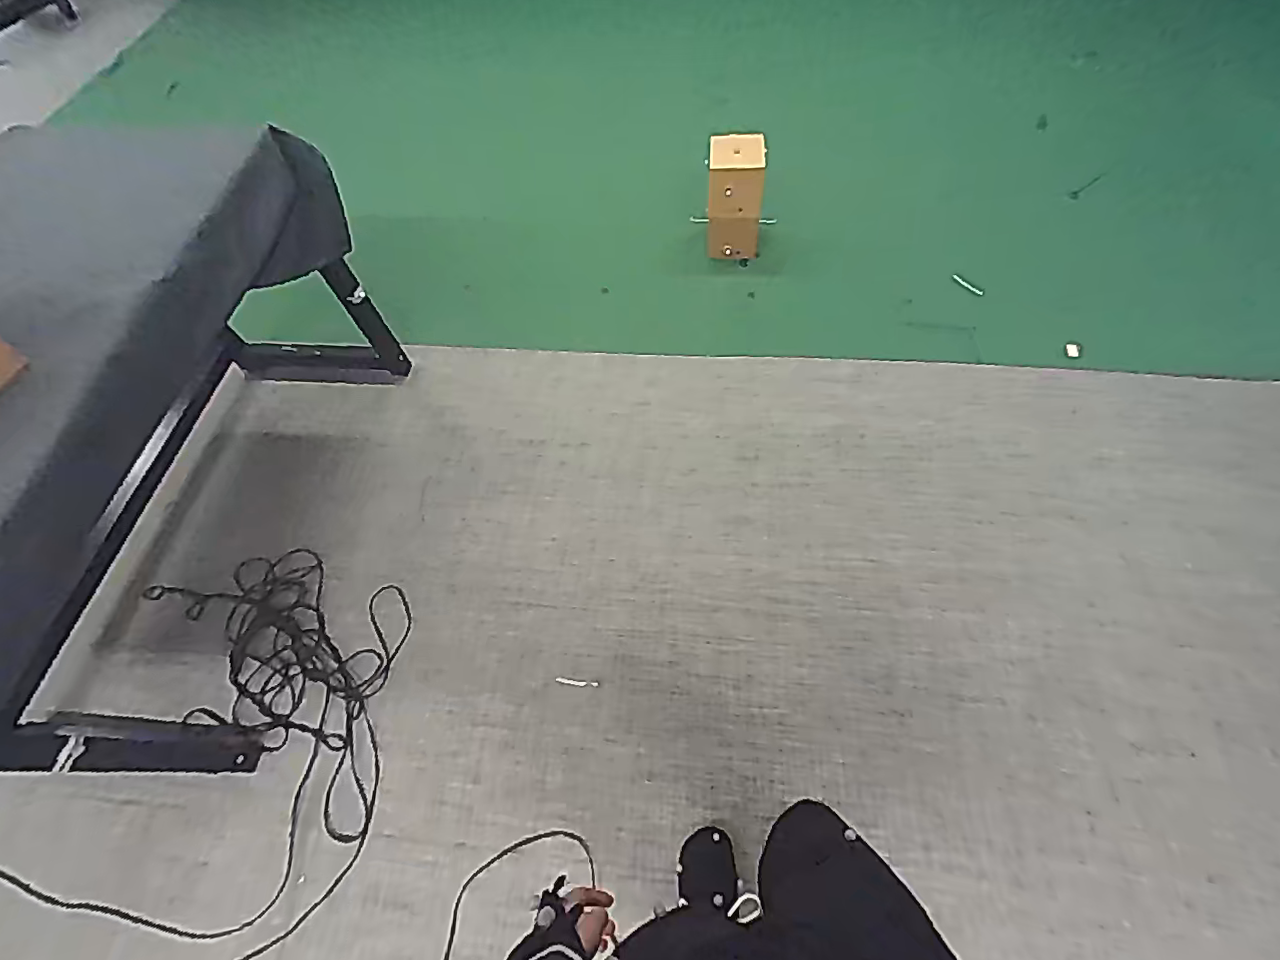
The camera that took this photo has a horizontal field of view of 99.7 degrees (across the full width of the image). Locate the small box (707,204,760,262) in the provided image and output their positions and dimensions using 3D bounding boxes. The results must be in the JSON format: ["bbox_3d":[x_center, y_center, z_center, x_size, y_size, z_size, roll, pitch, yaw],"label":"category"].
[{"bbox_3d":[0.321,-0.884,1.869,0.168,0.176,0.179,2,62,6],"label":"small box"}]

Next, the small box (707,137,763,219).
[{"bbox_3d":[0.301,-0.959,1.726,0.168,0.176,0.179,2,61,5],"label":"small box"}]
